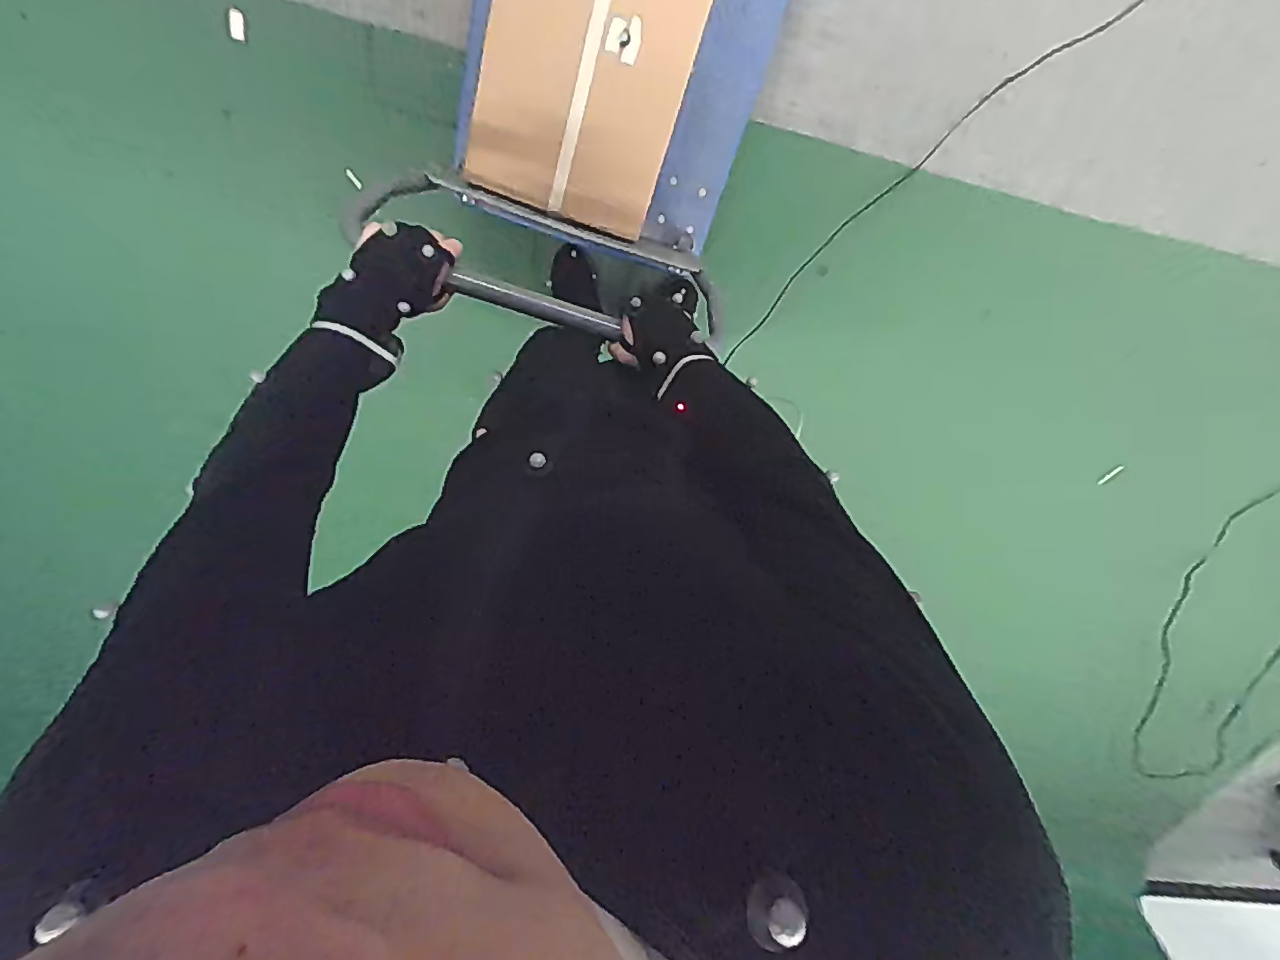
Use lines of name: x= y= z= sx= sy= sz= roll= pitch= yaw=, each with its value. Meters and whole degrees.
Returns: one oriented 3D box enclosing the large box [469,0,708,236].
large box: x=-0.093 y=-0.707 z=0.987 sx=0.320 sy=0.320 sz=0.408 roll=15 pitch=116 yaw=-11
